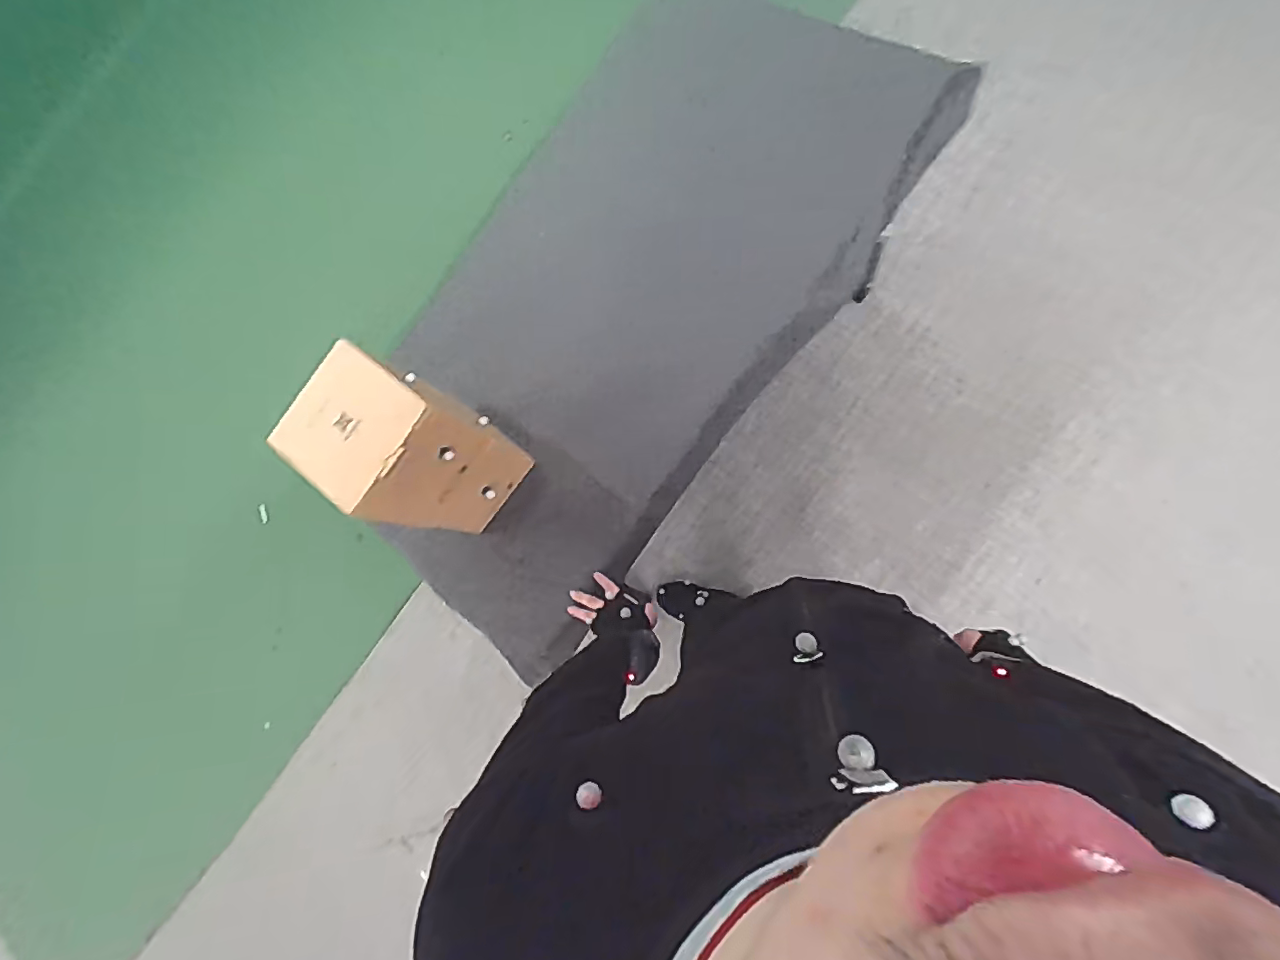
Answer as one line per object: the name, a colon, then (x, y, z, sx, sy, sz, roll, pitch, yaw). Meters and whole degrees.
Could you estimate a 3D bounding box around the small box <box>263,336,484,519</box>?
small box: (-0.352, -0.060, 0.745, 0.179, 0.176, 0.168, 35, 88, 18)

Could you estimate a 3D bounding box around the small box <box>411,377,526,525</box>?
small box: (-0.324, -0.037, 0.904, 0.179, 0.176, 0.168, 37, 89, 17)
